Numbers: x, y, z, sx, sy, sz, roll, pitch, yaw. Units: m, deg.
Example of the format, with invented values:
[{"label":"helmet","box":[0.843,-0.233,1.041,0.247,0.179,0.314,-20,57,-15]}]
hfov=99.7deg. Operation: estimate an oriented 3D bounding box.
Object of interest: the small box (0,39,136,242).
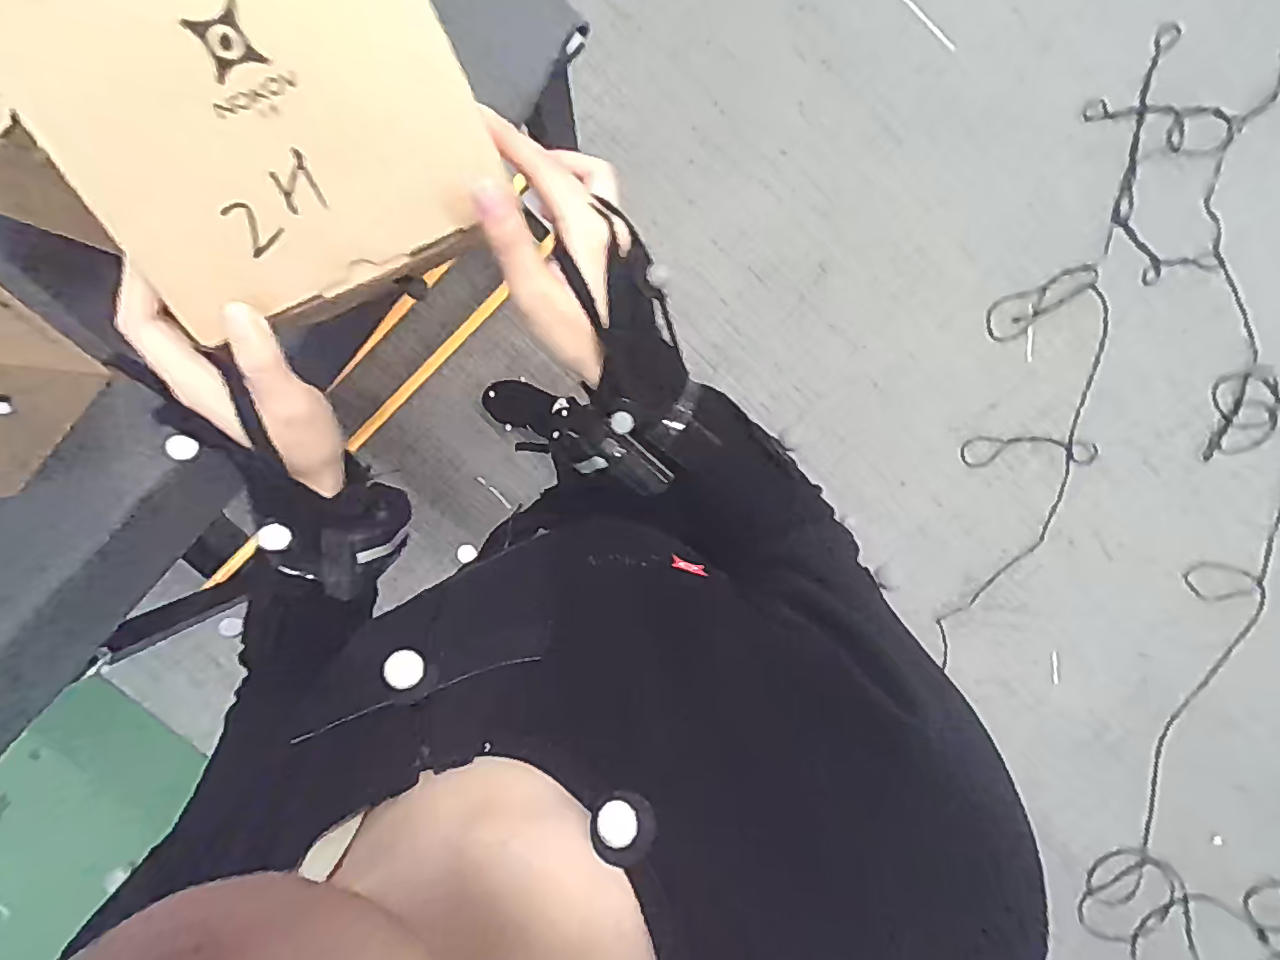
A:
[{"label":"small box","box":[-0.527,-0.340,0.477,0.168,0.176,0.179,-44,95,2]}]

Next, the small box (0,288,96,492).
[{"label":"small box","box":[-0.677,-0.094,0.496,0.168,0.176,0.179,40,93,-4]}]

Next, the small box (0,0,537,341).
[{"label":"small box","box":[-0.170,-0.194,0.295,0.168,0.176,0.179,-24,114,-3]}]
